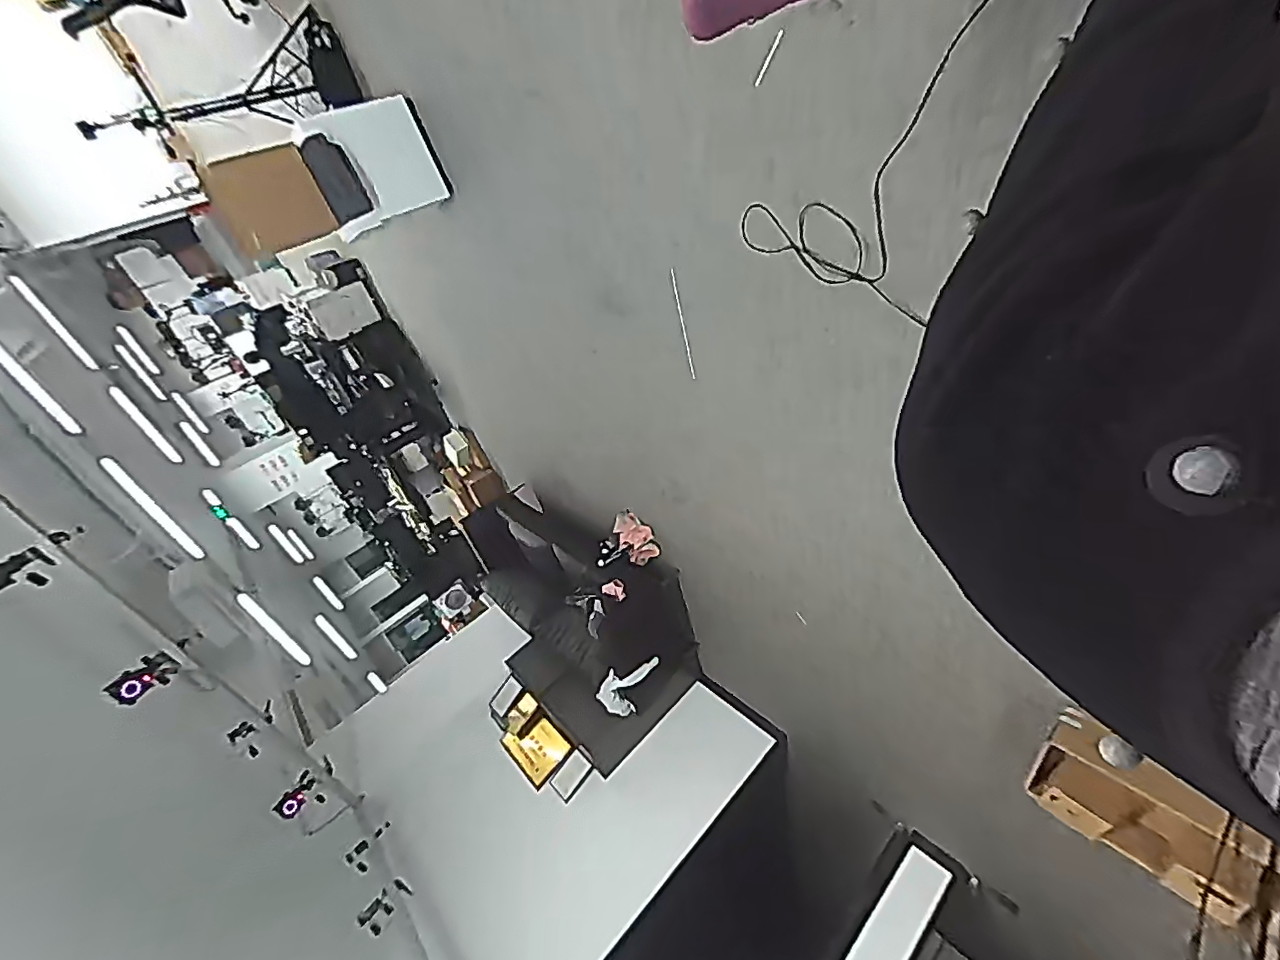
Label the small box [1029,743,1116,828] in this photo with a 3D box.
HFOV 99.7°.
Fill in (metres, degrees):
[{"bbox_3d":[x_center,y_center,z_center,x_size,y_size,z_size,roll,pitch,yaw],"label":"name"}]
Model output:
[{"bbox_3d":[1.542,1.084,1.927,0.179,0.176,0.168,32,145,34],"label":"small box"}]
